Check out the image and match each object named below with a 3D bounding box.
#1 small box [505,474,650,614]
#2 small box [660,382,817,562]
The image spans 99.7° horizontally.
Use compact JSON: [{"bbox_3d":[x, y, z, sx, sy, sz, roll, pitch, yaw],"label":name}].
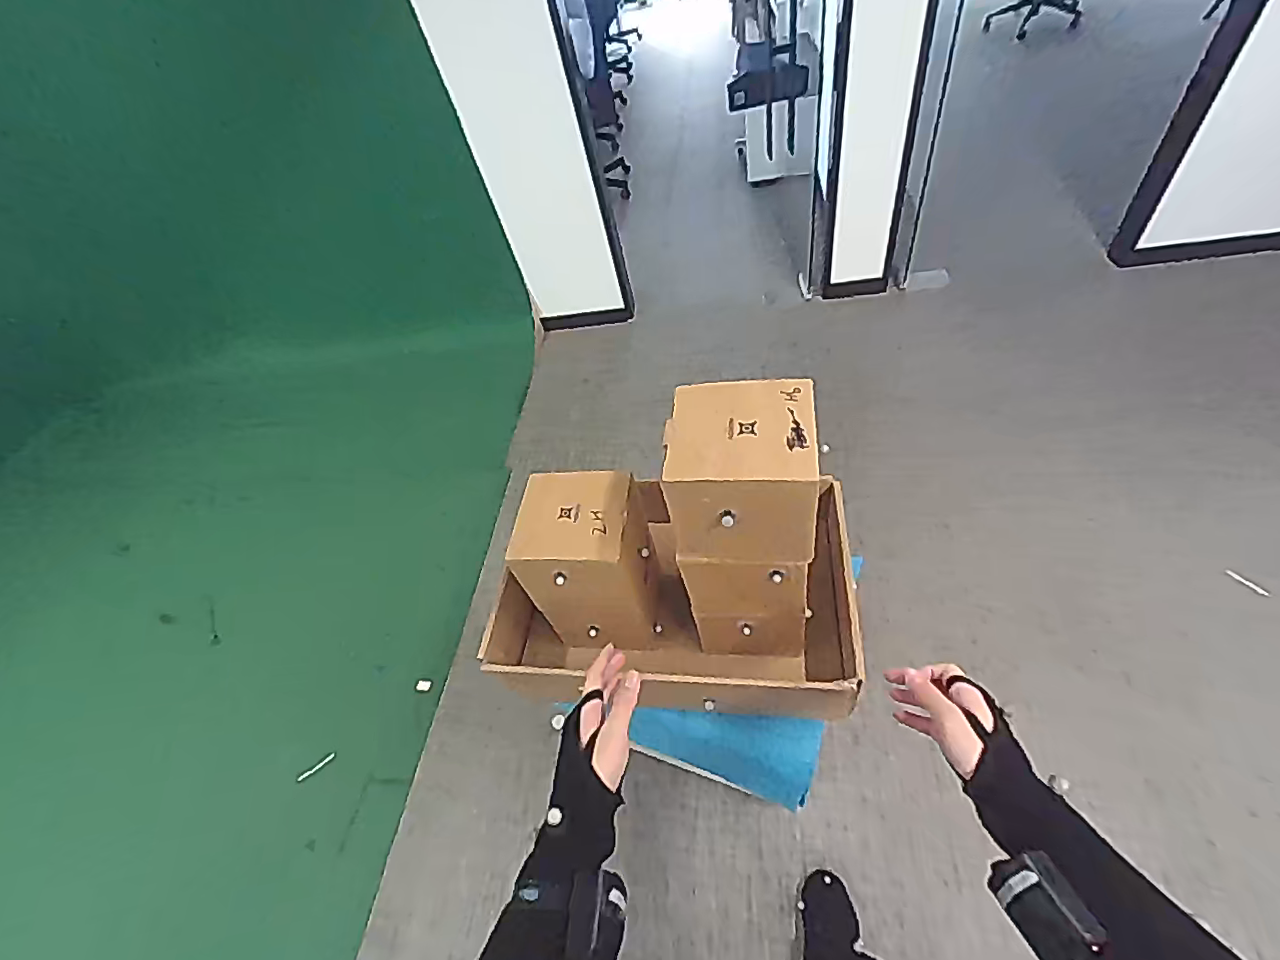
[{"bbox_3d":[-0.089,0.107,0.879,0.179,0.176,0.168,-1,51,12],"label":"small box"},{"bbox_3d":[0.135,-0.005,0.702,0.179,0.176,0.168,-1,51,15],"label":"small box"}]
